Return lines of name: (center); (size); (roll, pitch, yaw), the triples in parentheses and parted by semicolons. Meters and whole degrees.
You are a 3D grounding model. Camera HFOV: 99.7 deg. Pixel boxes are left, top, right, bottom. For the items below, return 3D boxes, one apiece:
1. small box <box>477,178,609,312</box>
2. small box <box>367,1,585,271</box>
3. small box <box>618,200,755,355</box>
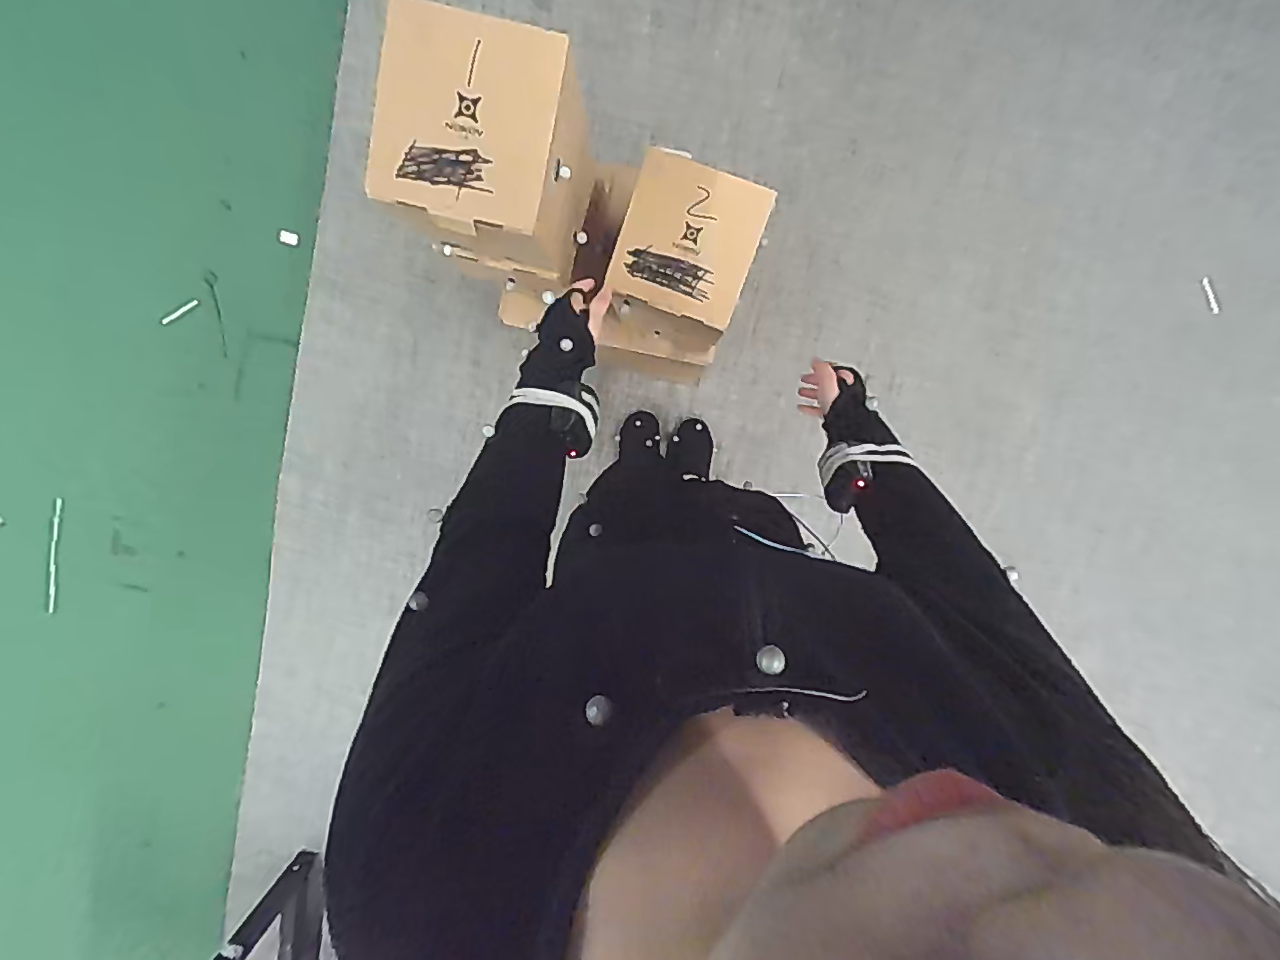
small box: (-0.152, -0.393, 0.901); (0.168, 0.176, 0.179); (14, 98, -1)
small box: (-0.159, -0.341, 0.576); (0.168, 0.176, 0.179); (12, 98, -1)
small box: (0.072, -0.323, 0.899); (0.168, 0.176, 0.179); (20, 98, 1)
